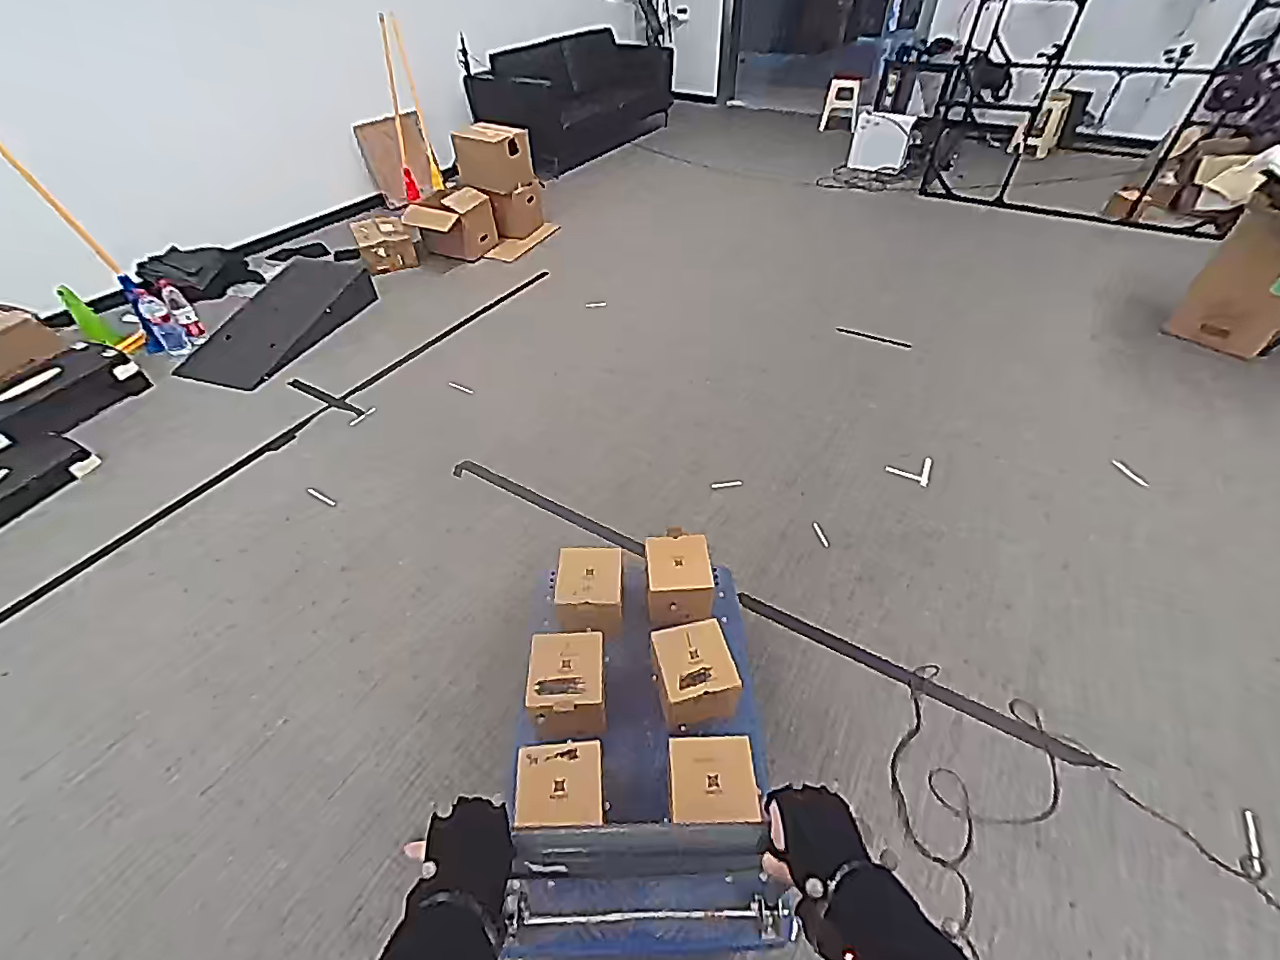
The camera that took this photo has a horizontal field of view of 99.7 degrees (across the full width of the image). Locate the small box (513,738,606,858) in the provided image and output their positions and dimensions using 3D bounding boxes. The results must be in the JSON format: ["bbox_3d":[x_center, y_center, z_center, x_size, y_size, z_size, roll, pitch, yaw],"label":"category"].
[{"bbox_3d":[-0.157,0.650,1.098,0.168,0.176,0.179,-3,45,-4],"label":"small box"}]

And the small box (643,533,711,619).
[{"bbox_3d":[0.096,0.269,1.484,0.168,0.176,0.179,-3,45,-3],"label":"small box"}]

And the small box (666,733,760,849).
[{"bbox_3d":[0.141,0.641,1.108,0.168,0.176,0.179,0,44,-1],"label":"small box"}]

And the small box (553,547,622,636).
[{"bbox_3d":[-0.135,0.298,1.452,0.168,0.176,0.179,0,46,0],"label":"small box"}]

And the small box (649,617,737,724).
[{"bbox_3d":[0.120,0.459,1.290,0.168,0.176,0.179,-10,44,-10],"label":"small box"}]
